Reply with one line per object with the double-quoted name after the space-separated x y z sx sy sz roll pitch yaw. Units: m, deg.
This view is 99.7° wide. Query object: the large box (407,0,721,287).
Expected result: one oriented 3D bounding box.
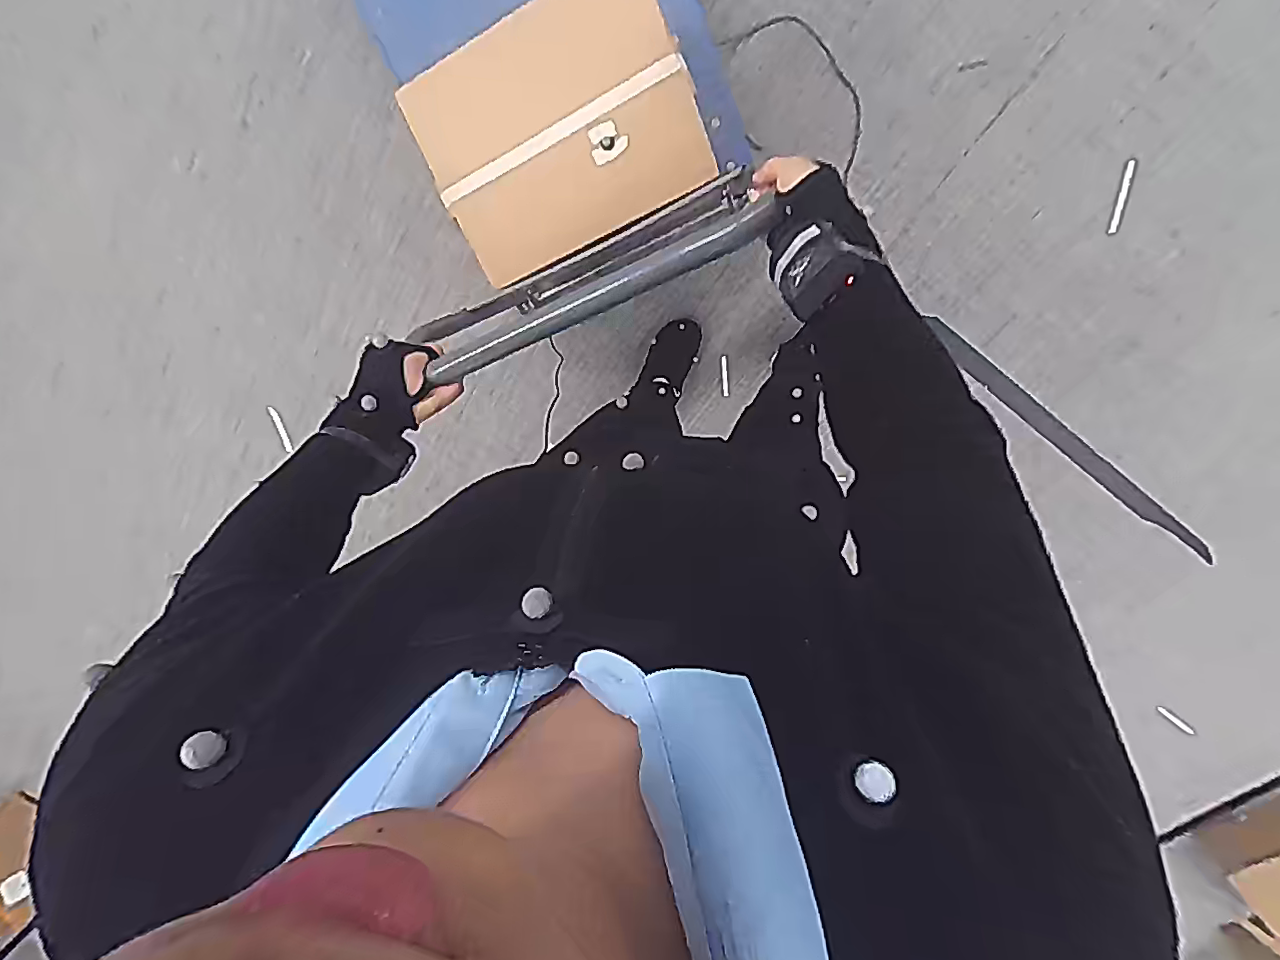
-0.102 -0.577 0.951 0.408 0.320 0.320 -21 109 14 "large box"
